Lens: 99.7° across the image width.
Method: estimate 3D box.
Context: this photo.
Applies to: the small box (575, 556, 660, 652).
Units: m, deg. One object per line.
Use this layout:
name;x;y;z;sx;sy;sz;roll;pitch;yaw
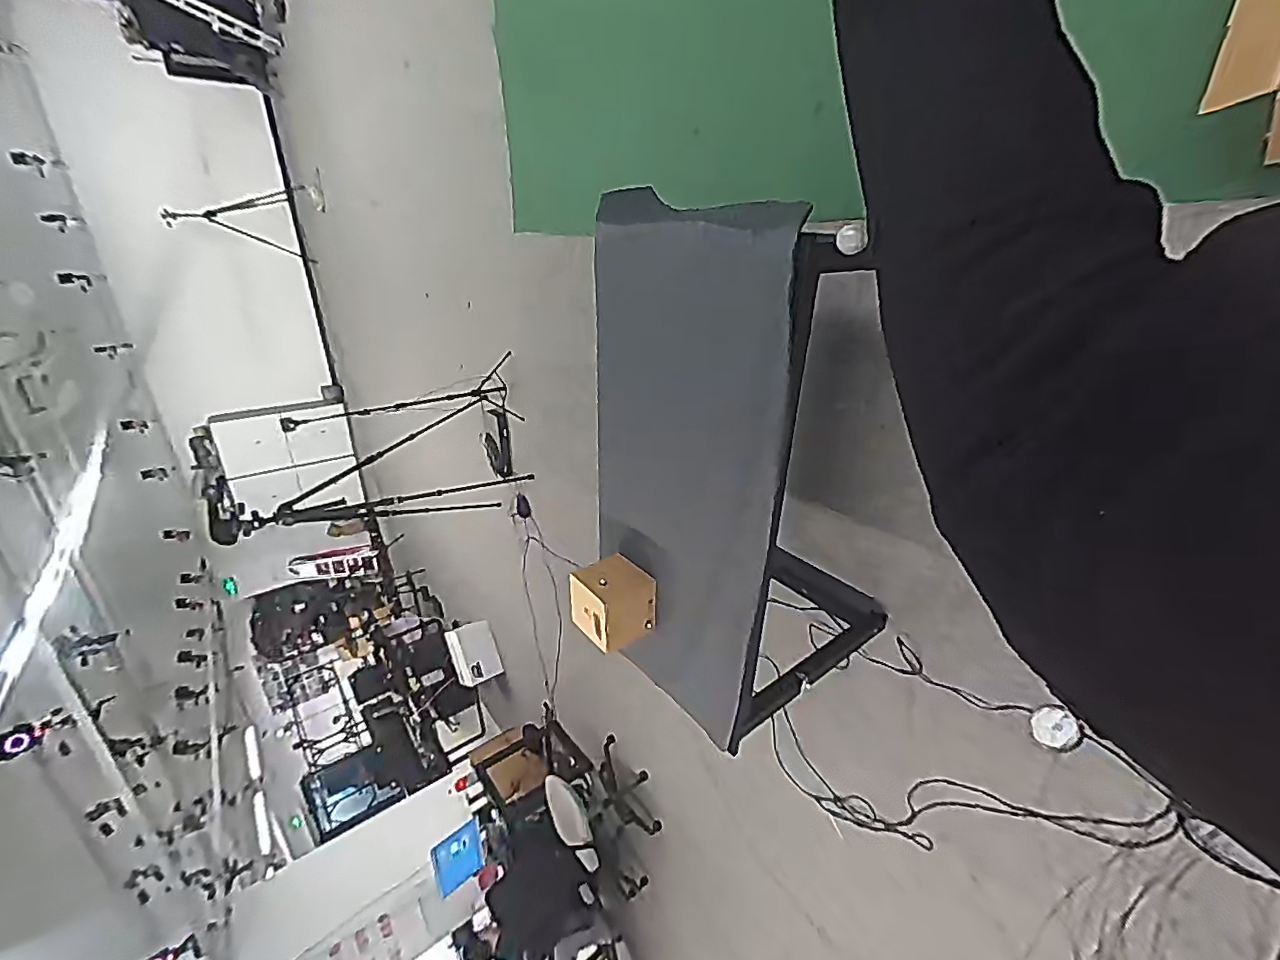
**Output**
small box;-0.059;0.331;1.489;0.179;0.176;0.168;28;127;46
